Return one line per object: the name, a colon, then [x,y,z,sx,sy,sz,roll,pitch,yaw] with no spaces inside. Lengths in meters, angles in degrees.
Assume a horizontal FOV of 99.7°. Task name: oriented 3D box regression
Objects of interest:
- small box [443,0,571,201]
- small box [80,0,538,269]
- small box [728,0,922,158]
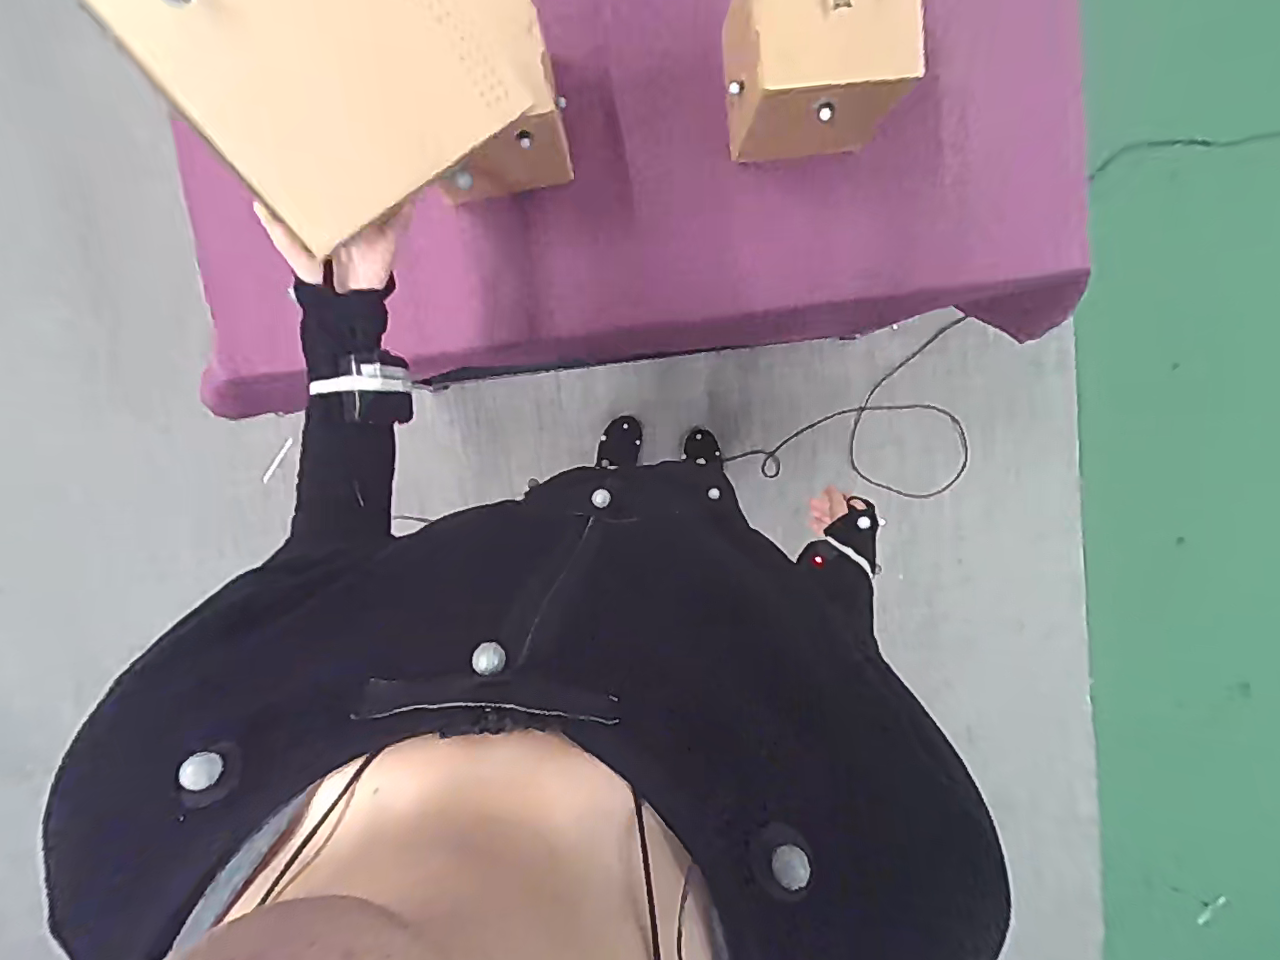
small box: [-0.189,-0.458,0.642,0.179,0.176,0.168,-12,96,-1]
small box: [-0.195,-0.269,0.351,0.176,0.168,0.179,-37,124,-1]
small box: [0.204,-0.507,0.641,0.179,0.176,0.168,-5,97,-1]
